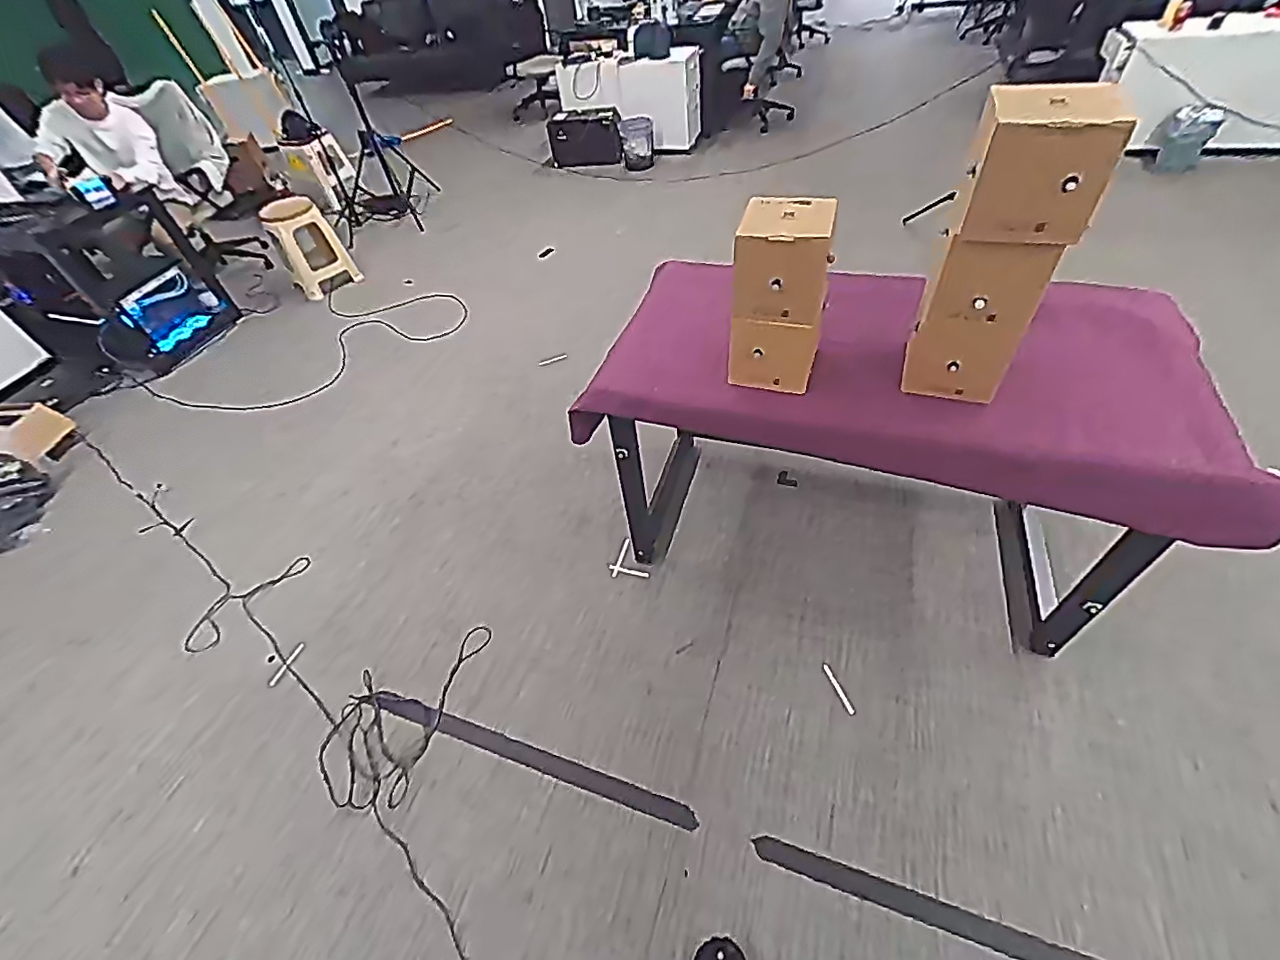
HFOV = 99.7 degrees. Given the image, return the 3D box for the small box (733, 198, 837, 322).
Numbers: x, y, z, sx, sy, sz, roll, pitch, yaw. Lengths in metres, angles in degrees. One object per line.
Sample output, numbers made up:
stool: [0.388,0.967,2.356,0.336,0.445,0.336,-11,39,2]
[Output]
small box: [0.277,-0.425,1.047,0.168,0.176,0.179,10,50,15]

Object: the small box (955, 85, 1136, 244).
small box: [0.605,-0.483,0.835,0.168,0.176,0.179,11,50,16]

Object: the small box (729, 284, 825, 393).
small box: [0.293,-0.310,1.164,0.168,0.176,0.179,12,50,17]

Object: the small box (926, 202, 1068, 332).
small box: [0.627,-0.392,0.969,0.168,0.176,0.179,13,52,19]

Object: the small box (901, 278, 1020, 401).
small box: [0.639,-0.282,1.090,0.168,0.176,0.179,14,51,18]
